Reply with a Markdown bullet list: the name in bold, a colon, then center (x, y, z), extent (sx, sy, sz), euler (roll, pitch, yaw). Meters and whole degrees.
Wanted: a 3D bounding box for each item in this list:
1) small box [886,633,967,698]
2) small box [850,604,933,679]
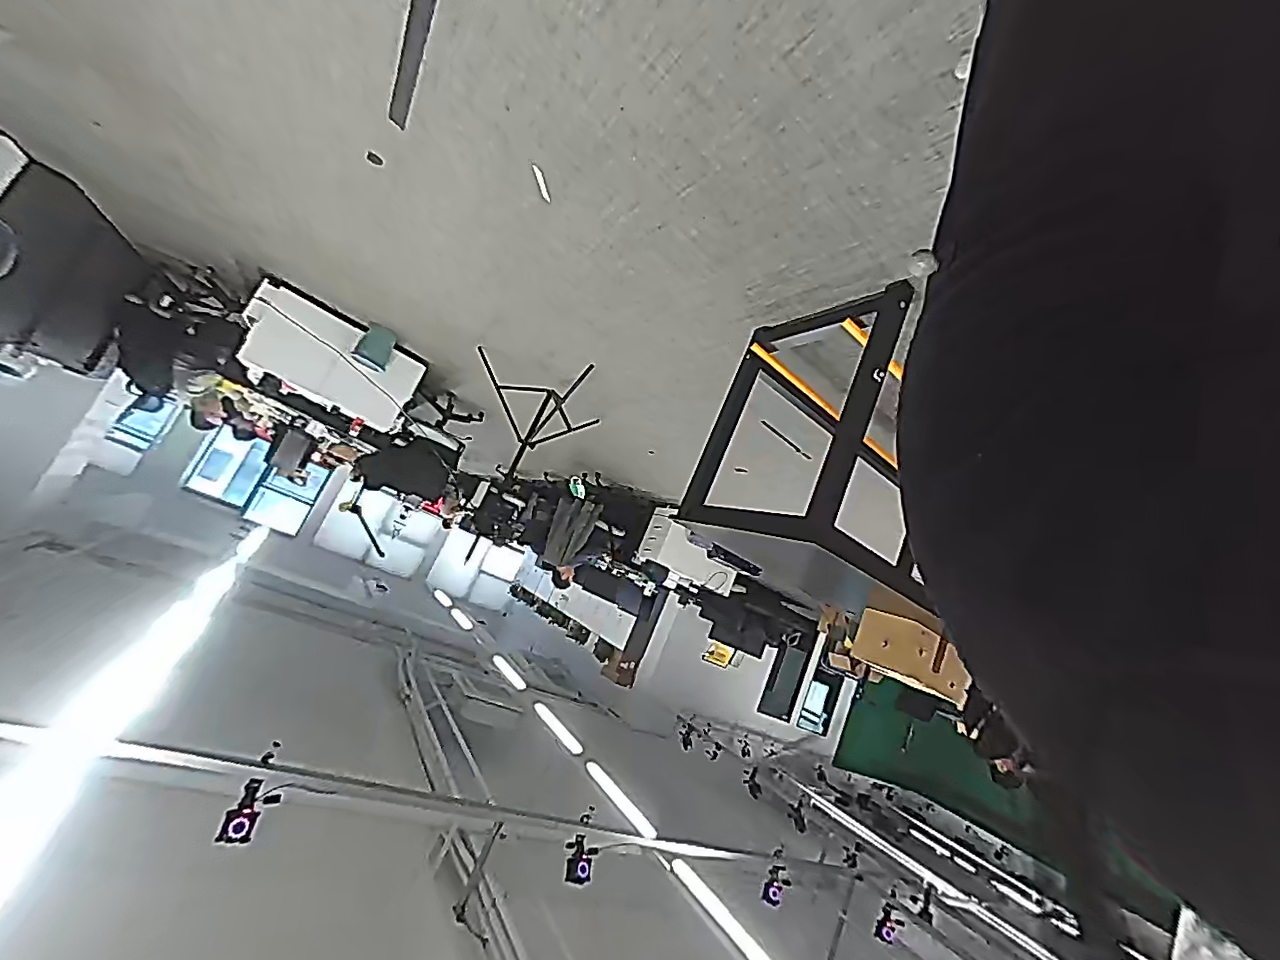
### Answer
- **small box**: center (0.990, 0.617, 1.860), extent (0.179, 0.176, 0.168), euler (31, 167, -28)
- **small box**: center (0.816, 0.515, 1.744), extent (0.168, 0.176, 0.179), euler (30, 167, -29)
